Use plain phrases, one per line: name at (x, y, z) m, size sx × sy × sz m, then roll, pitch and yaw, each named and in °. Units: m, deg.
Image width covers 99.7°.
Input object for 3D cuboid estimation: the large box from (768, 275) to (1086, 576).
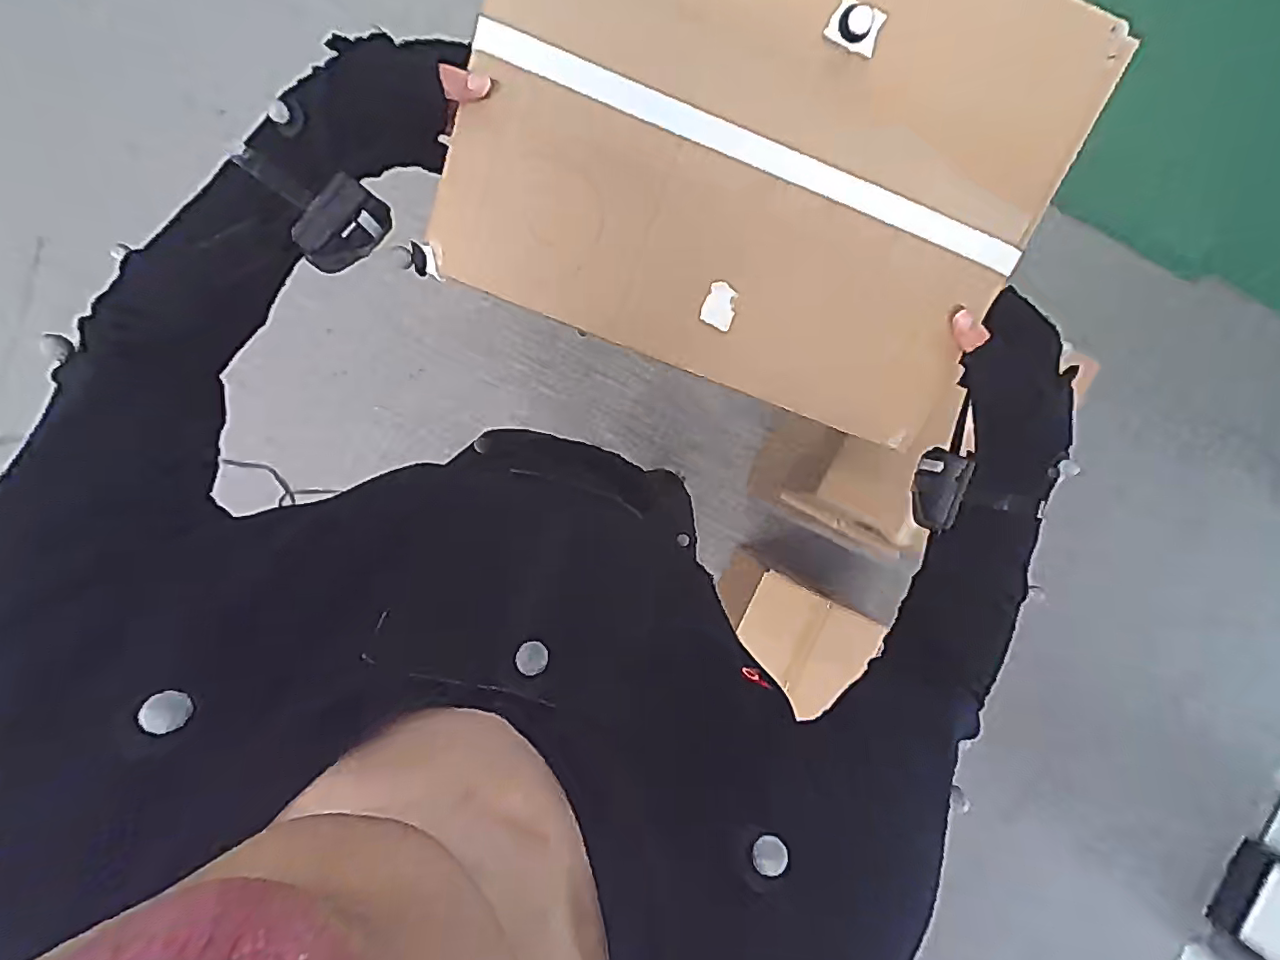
large box at (0.494, -0.087, 1.017) m, size 0.320 × 0.320 × 0.408 m, roll 28°, pitch 91°, yaw -2°
